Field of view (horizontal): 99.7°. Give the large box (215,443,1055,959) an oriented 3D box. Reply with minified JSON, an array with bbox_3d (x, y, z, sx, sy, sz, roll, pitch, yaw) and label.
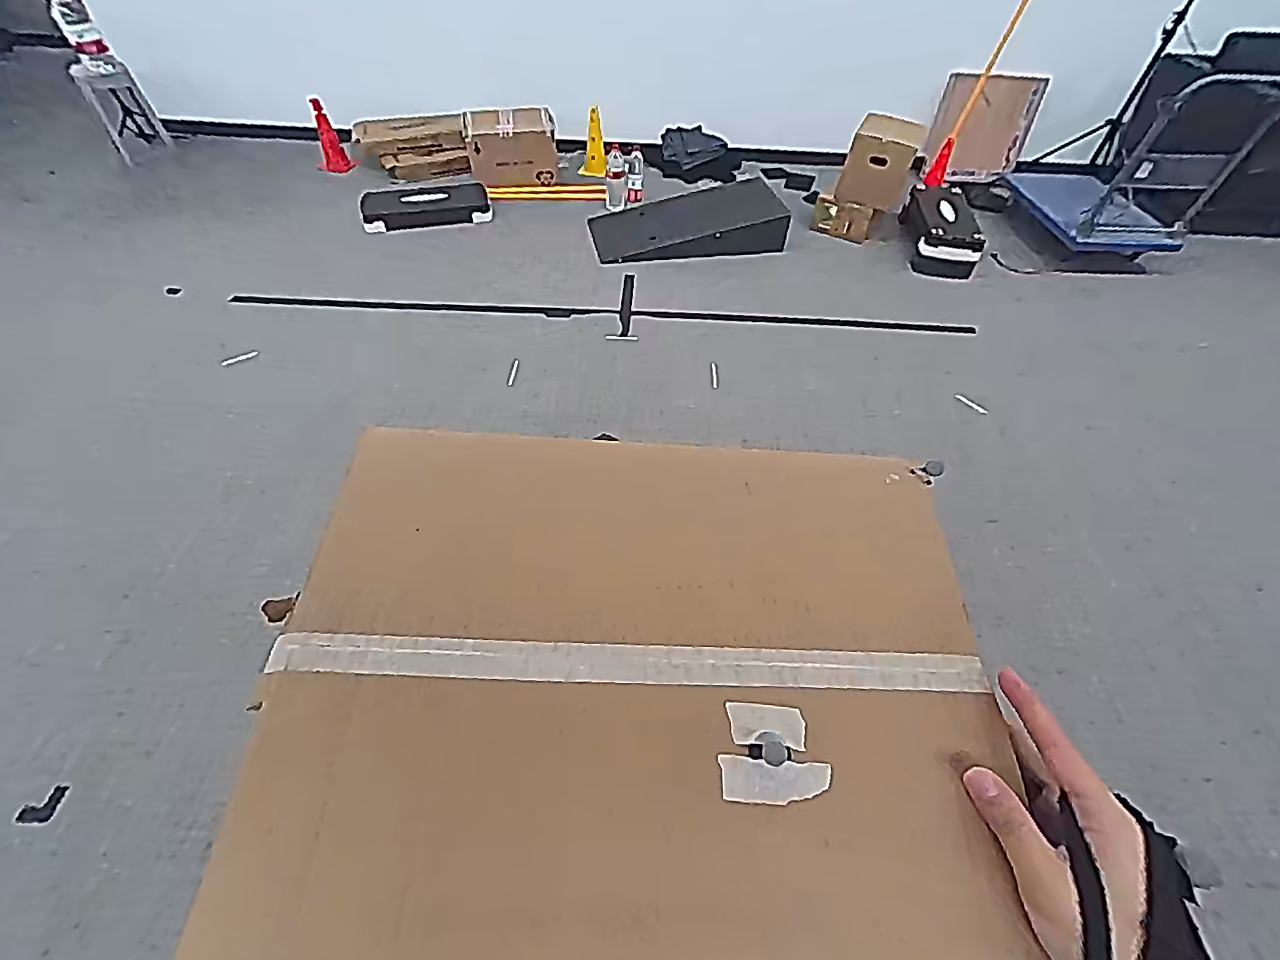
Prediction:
[{"bbox_3d":[-0.006,0.190,0.450,0.408,0.320,0.320,3,59,-4],"label":"large box"}]
